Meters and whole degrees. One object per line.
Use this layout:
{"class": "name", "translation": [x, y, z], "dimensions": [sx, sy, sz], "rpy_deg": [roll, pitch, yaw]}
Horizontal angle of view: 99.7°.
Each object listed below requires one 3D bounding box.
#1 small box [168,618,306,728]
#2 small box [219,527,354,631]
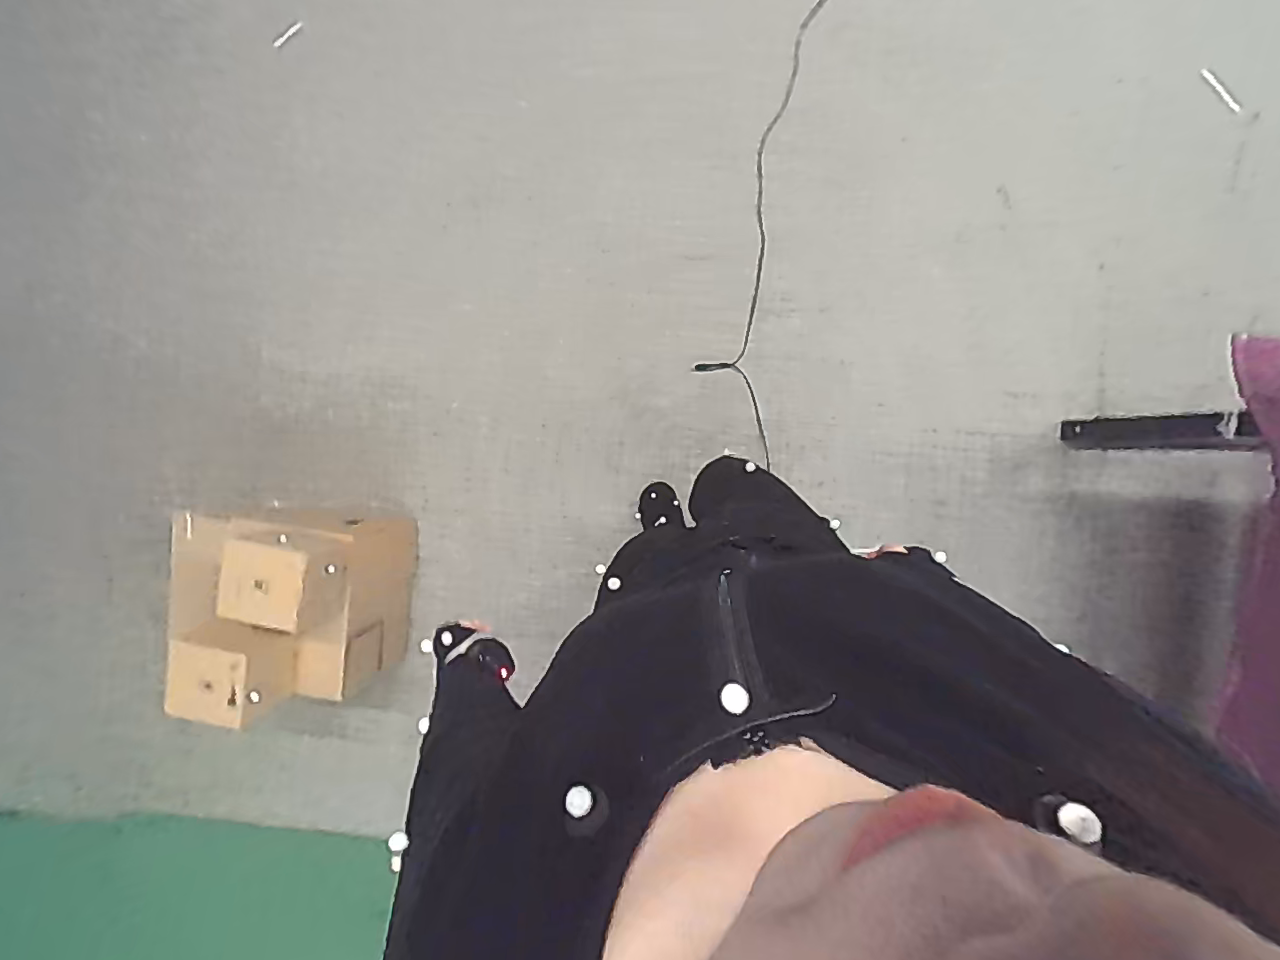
{"class": "small box", "translation": [-0.888, 0.414, 1.202], "dimensions": [0.179, 0.176, 0.168], "rpy_deg": [10, 96, 5]}
{"class": "small box", "translation": [-0.756, 0.206, 1.173], "dimensions": [0.179, 0.176, 0.168], "rpy_deg": [11, 94, 5]}
